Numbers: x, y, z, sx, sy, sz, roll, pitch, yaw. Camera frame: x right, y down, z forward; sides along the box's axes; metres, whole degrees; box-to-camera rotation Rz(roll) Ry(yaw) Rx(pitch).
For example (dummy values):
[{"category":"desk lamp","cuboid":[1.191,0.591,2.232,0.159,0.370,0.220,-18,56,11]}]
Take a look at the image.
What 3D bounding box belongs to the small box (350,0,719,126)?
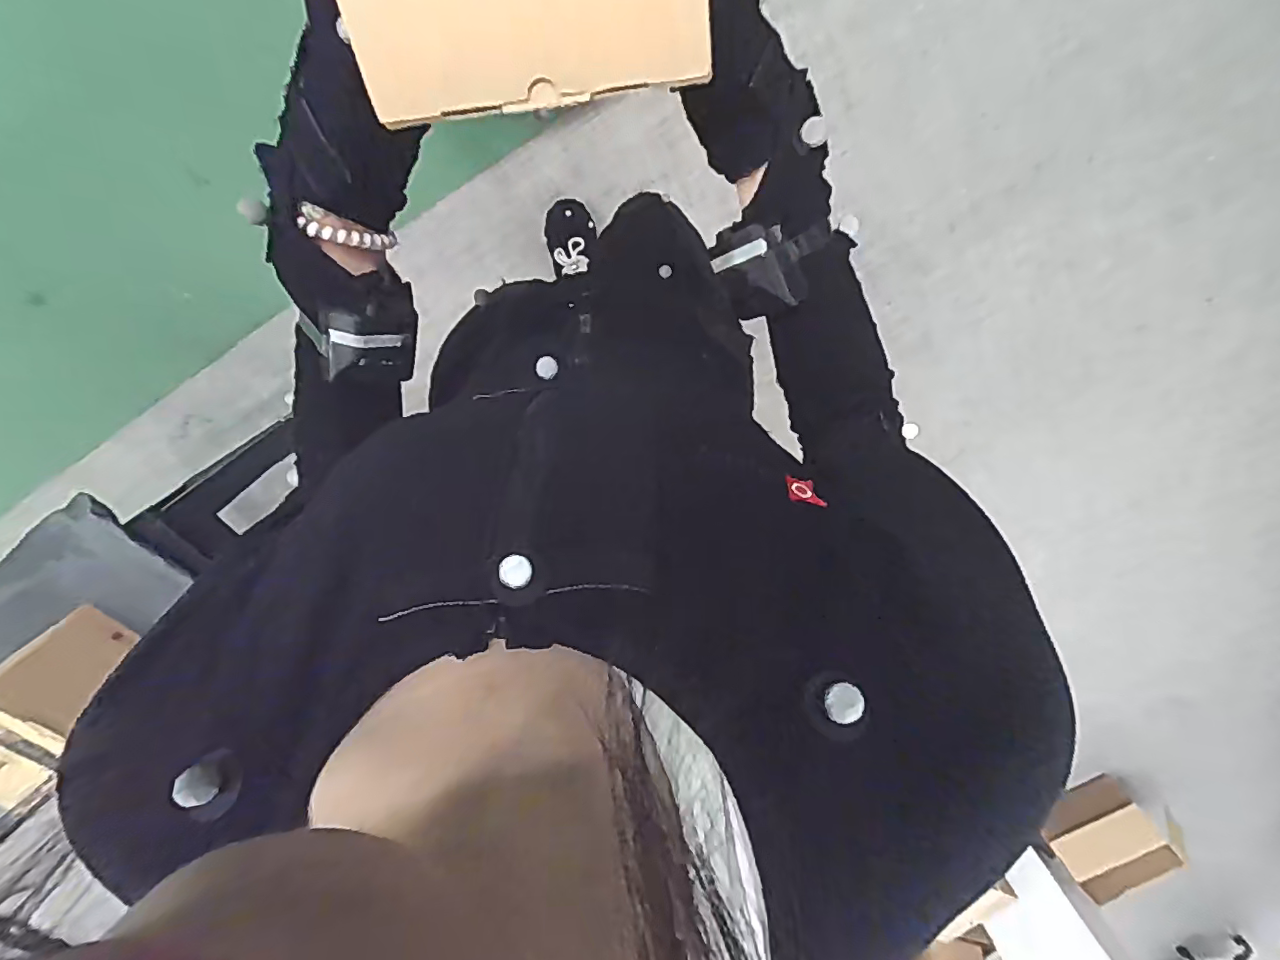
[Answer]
[{"category":"small box","cuboid":[-0.058,-0.301,0.276,0.168,0.176,0.179,-8,129,1]}]
